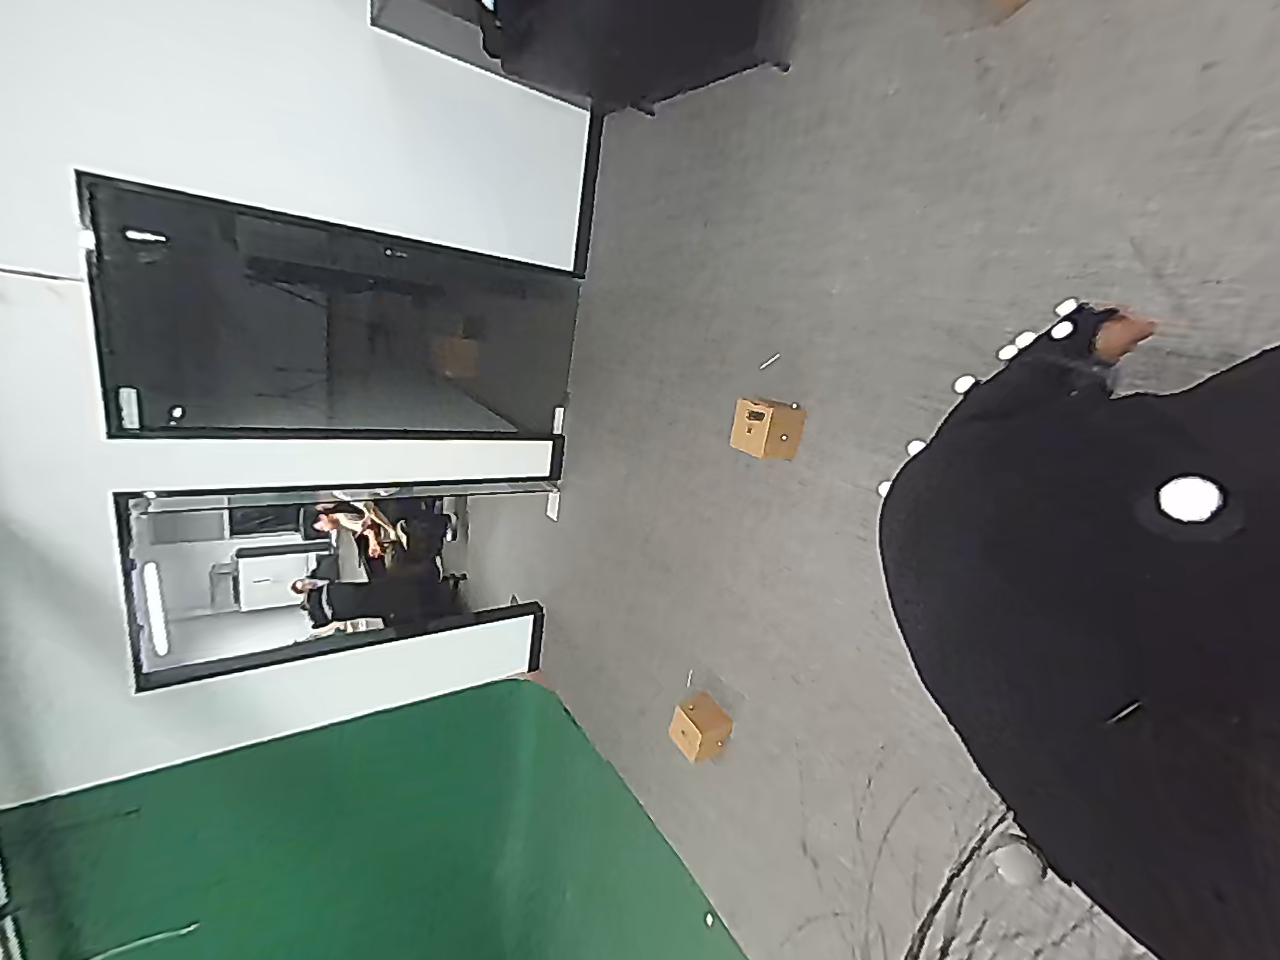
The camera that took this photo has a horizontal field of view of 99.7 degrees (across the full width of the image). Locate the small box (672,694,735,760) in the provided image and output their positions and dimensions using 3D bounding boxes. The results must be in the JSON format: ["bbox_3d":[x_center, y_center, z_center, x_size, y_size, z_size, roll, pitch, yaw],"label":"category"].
[{"bbox_3d":[0.264,1.016,2.244,0.179,0.176,0.168,37,122,47],"label":"small box"}]

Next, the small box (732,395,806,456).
[{"bbox_3d":[0.456,-0.191,1.897,0.168,0.176,0.179,31,118,50],"label":"small box"}]
